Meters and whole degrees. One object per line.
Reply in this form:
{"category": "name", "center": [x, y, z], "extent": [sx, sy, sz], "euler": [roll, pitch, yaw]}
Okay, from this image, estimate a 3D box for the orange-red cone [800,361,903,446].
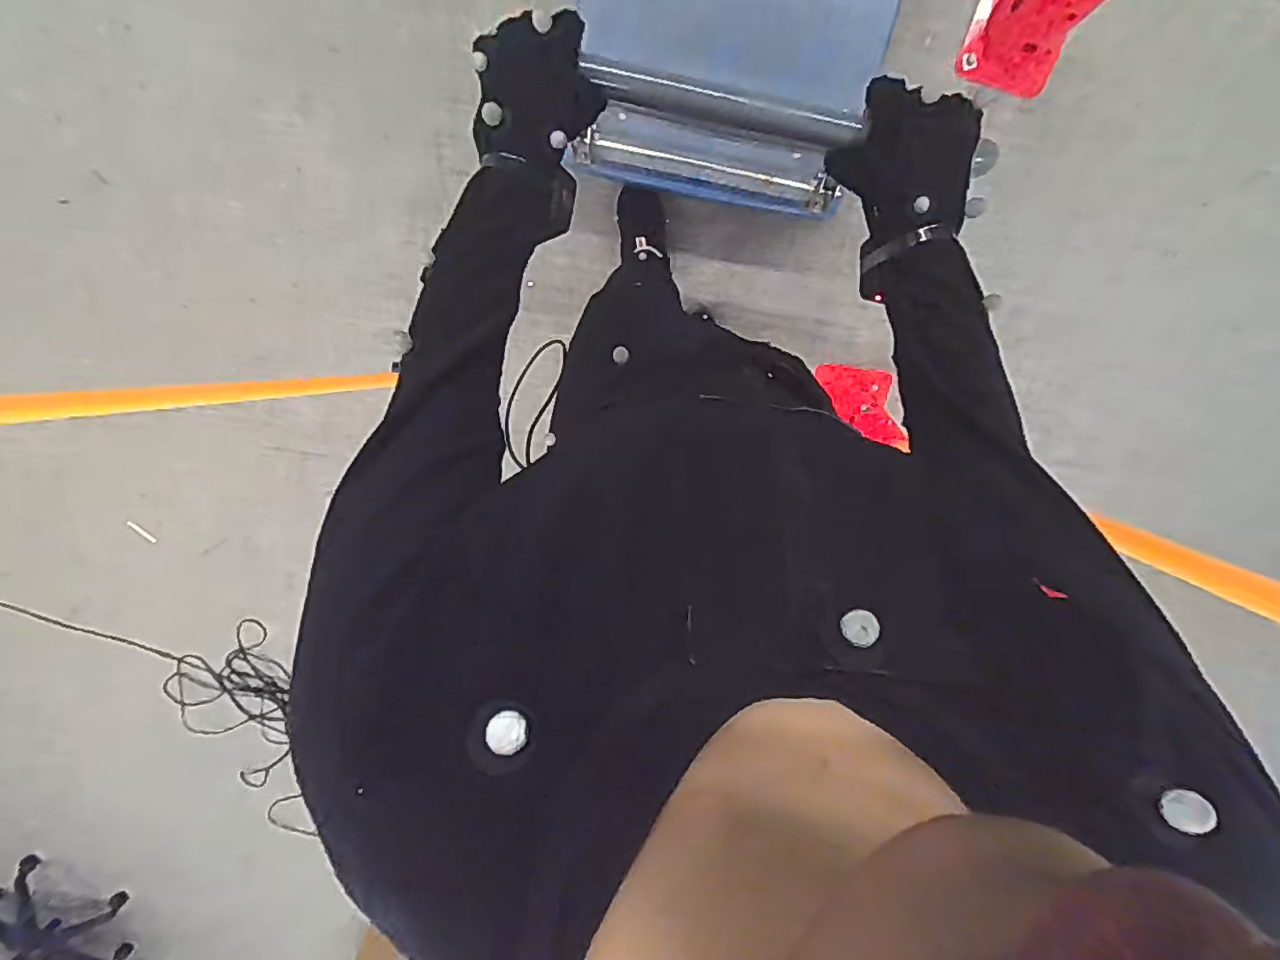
{"category": "orange-red cone", "center": [0.523, -0.144, 1.257], "extent": [0.199, 0.360, 0.198], "euler": [10, 110, 1]}
